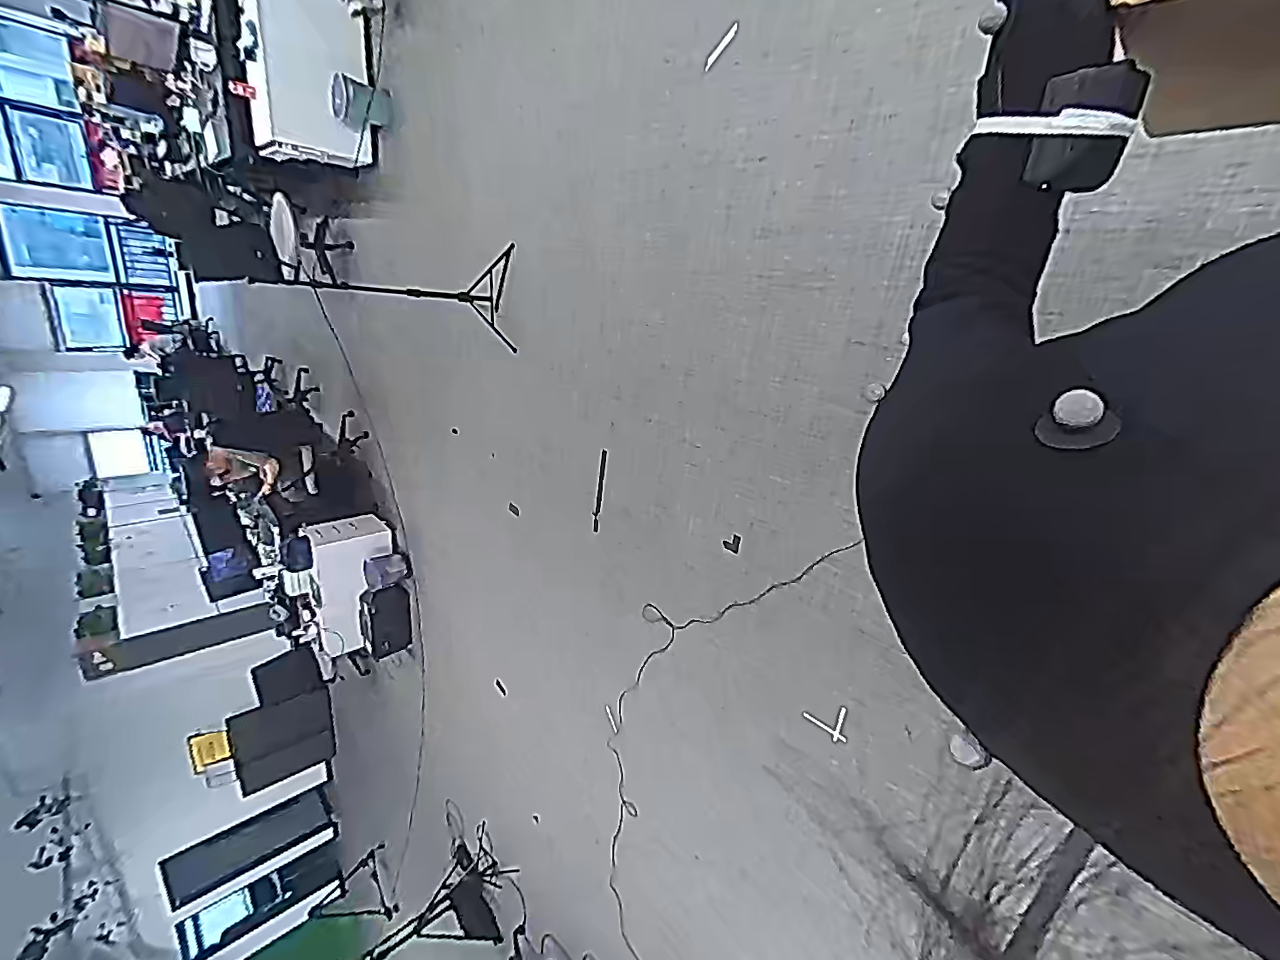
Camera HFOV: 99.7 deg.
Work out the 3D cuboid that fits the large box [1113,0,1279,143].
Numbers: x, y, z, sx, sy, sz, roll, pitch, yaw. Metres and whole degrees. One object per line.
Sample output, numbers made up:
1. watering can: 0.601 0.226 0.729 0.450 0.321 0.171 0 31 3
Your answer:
1. large box: 0.529 -0.395 0.250 0.408 0.320 0.320 20 115 41
